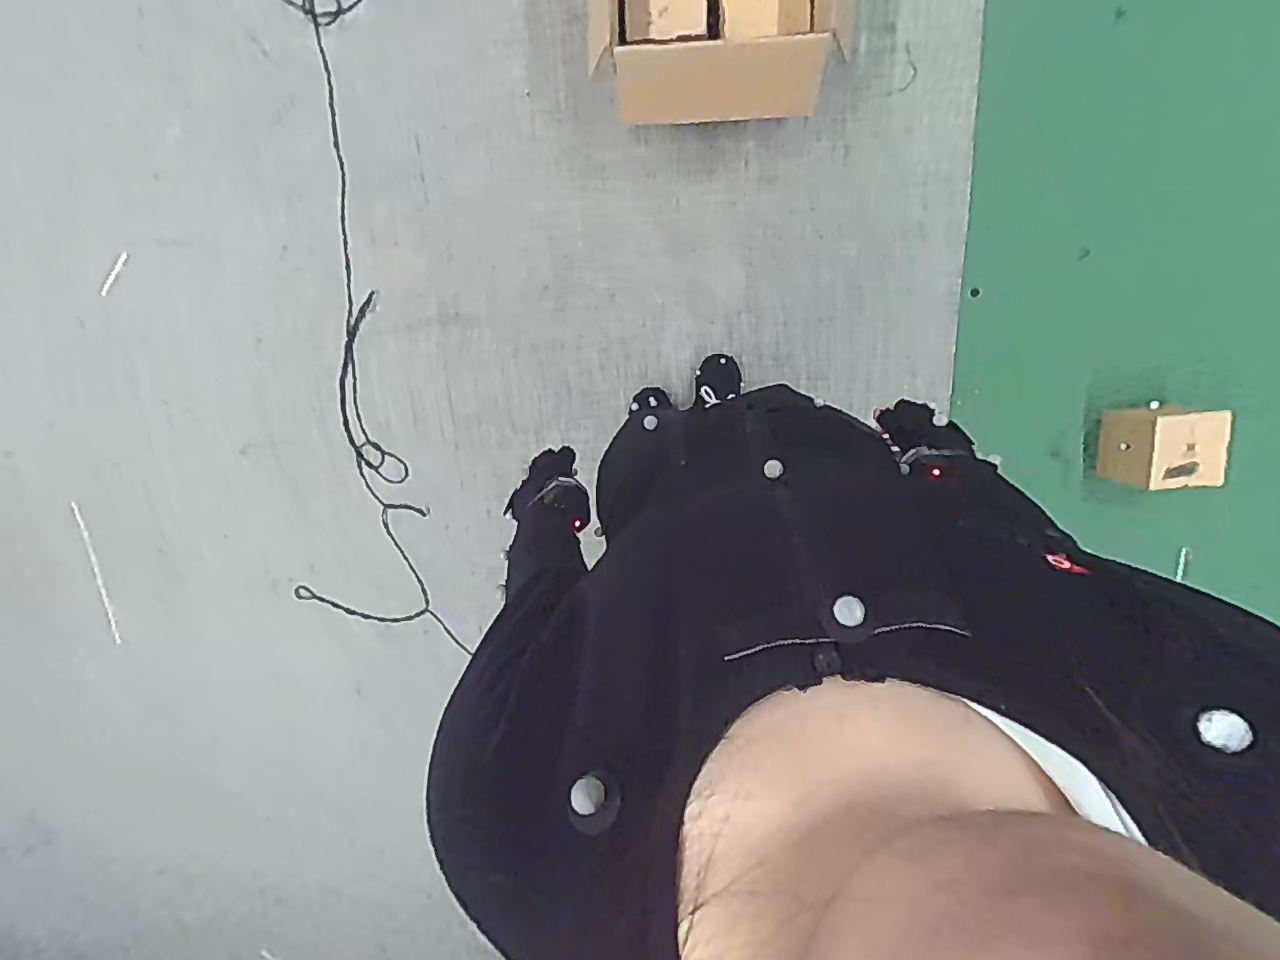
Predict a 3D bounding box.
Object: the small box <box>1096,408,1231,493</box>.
[{"bbox_3d":[1.269,-0.077,1.326,0.168,0.176,0.179,-4,102,4],"label":"small box"}]
